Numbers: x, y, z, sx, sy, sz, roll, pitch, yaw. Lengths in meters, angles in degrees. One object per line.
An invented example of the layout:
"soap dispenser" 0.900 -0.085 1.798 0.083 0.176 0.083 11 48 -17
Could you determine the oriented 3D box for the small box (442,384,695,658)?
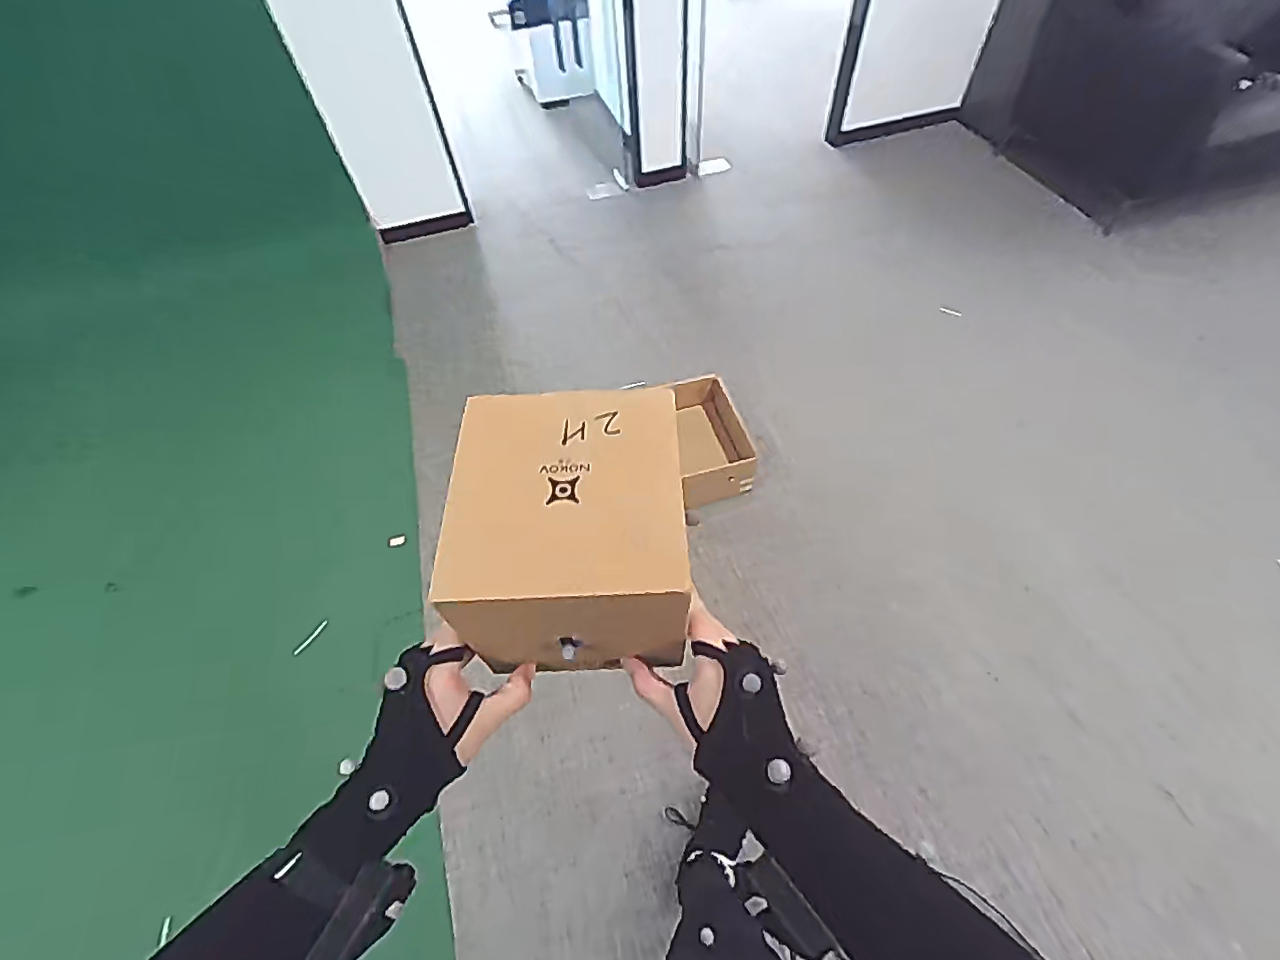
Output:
"small box" -0.044 0.042 0.452 0.168 0.176 0.179 -1 55 0
